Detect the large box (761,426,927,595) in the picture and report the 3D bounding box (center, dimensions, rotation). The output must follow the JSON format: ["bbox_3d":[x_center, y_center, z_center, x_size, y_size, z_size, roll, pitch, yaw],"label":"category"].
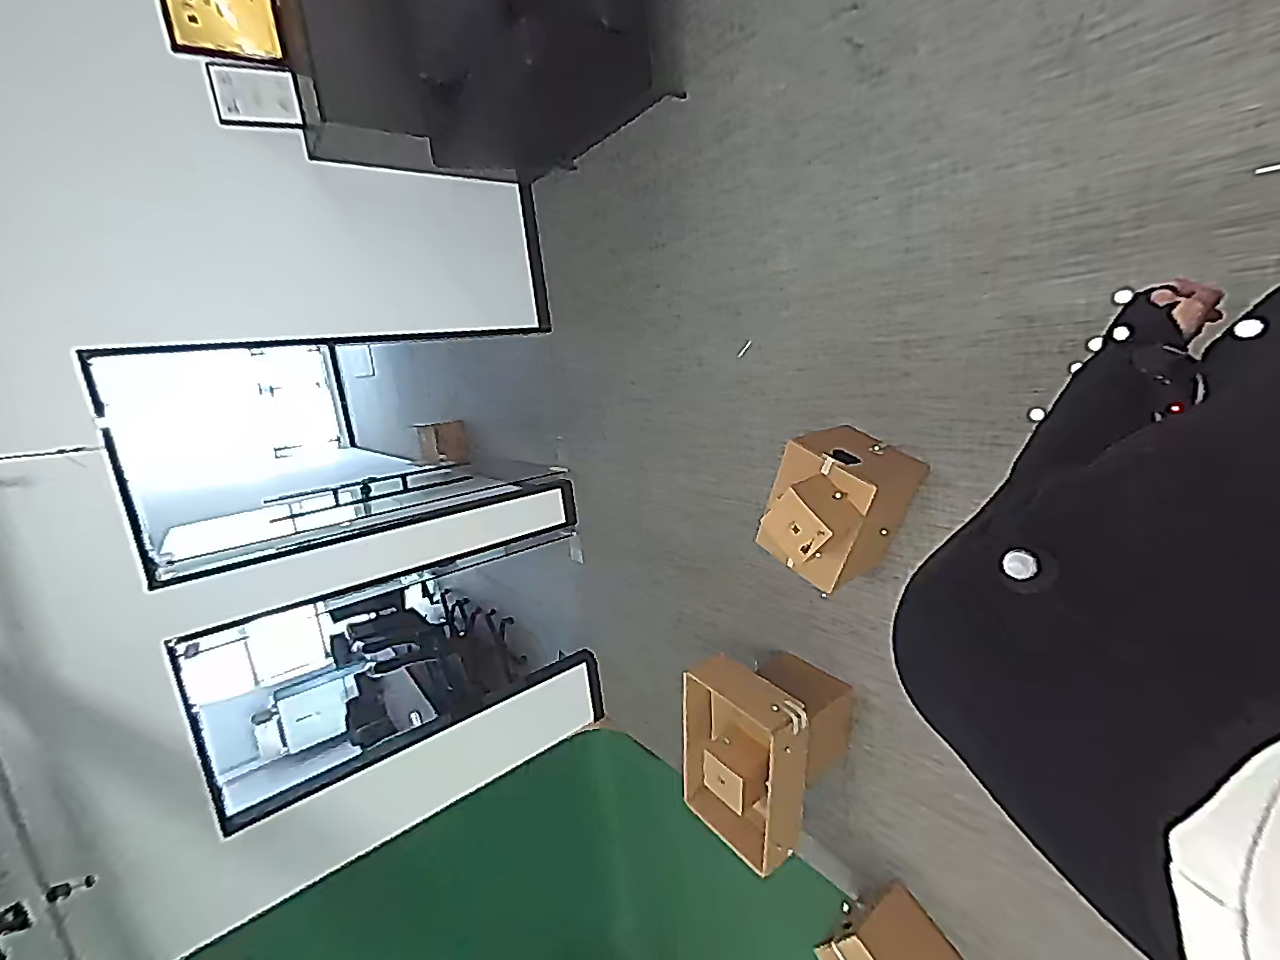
[{"bbox_3d":[0.647,0.082,1.744,0.320,0.320,0.408,38,131,40],"label":"large box"}]

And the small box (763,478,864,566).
[{"bbox_3d":[0.493,0.112,1.541,0.179,0.176,0.168,54,139,25],"label":"small box"}]
